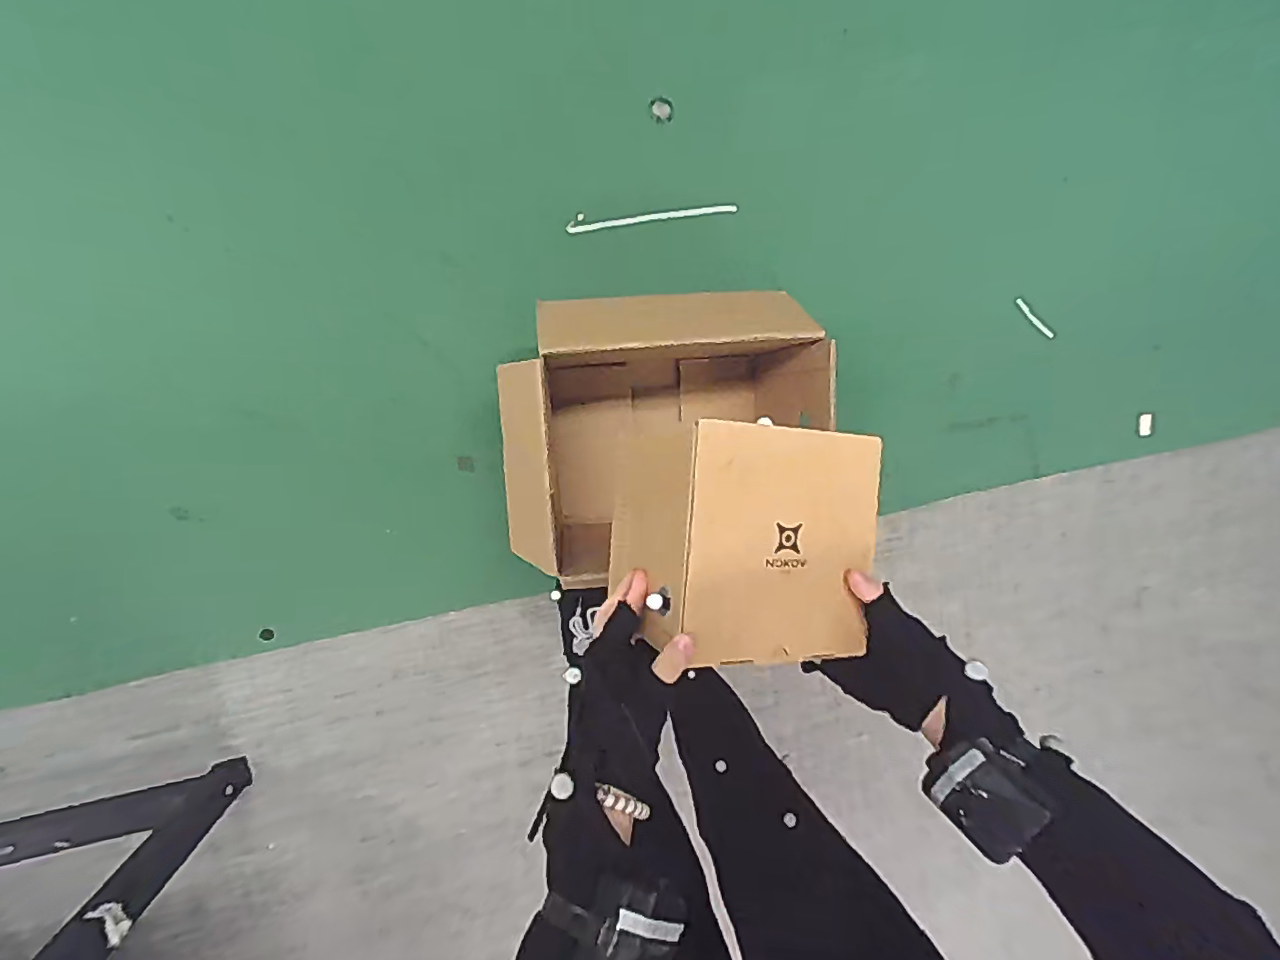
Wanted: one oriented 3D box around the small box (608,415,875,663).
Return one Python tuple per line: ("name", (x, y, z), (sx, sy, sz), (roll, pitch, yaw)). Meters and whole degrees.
("small box", (0.077, 0.042, 0.477), (0.168, 0.176, 0.179), (3, 92, -22))
